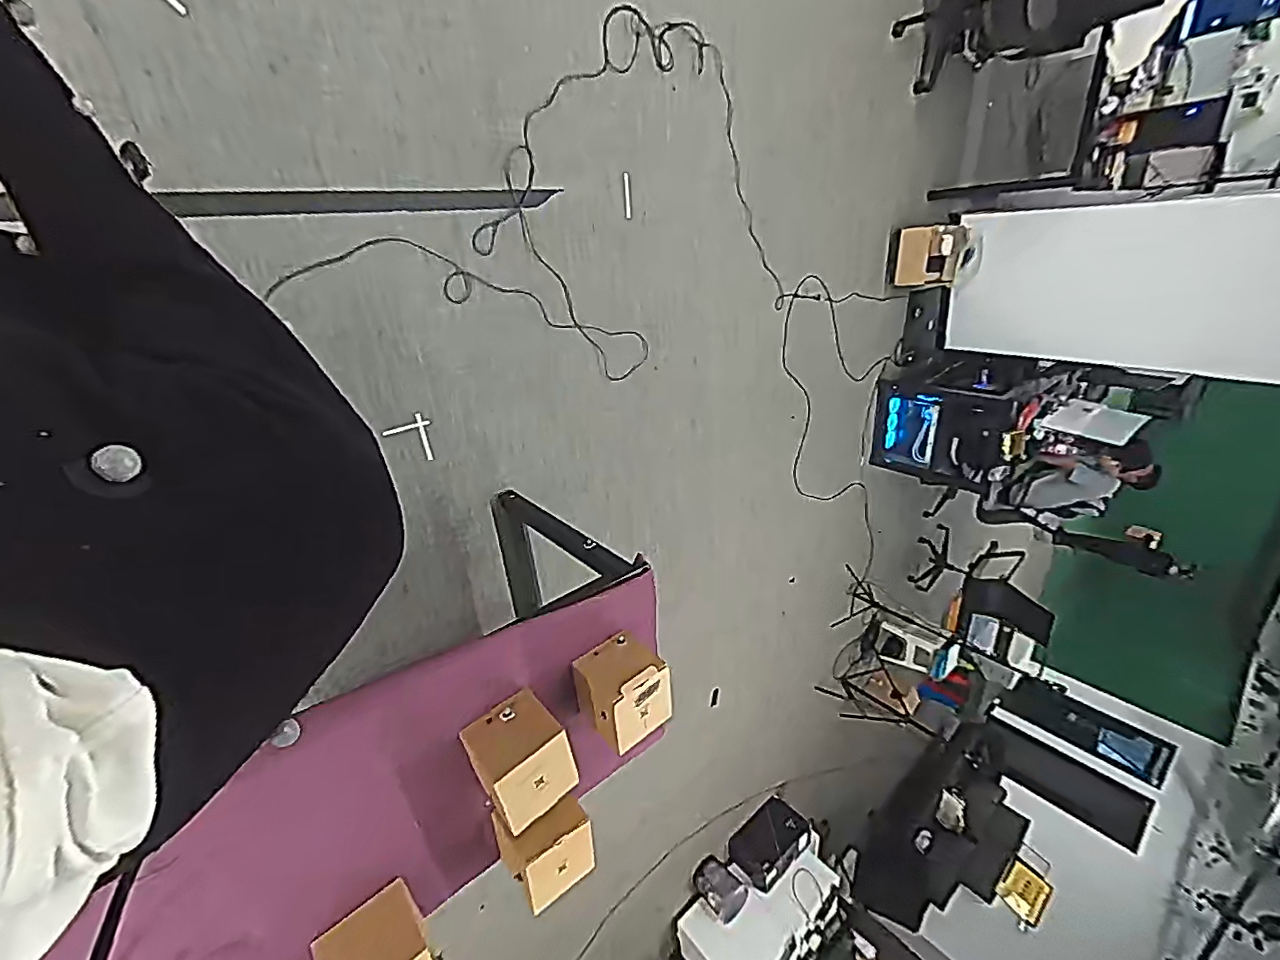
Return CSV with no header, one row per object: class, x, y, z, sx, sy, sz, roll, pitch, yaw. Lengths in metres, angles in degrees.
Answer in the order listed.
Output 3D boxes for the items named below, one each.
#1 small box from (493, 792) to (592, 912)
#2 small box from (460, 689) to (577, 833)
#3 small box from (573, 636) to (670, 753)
small box,-0.230,0.845,1.277,0.168,0.176,0.179,-20,118,-34
small box,-0.260,0.591,1.156,0.168,0.176,0.179,-28,124,-32
small box,-0.048,0.503,1.307,0.168,0.176,0.179,-24,123,-33
